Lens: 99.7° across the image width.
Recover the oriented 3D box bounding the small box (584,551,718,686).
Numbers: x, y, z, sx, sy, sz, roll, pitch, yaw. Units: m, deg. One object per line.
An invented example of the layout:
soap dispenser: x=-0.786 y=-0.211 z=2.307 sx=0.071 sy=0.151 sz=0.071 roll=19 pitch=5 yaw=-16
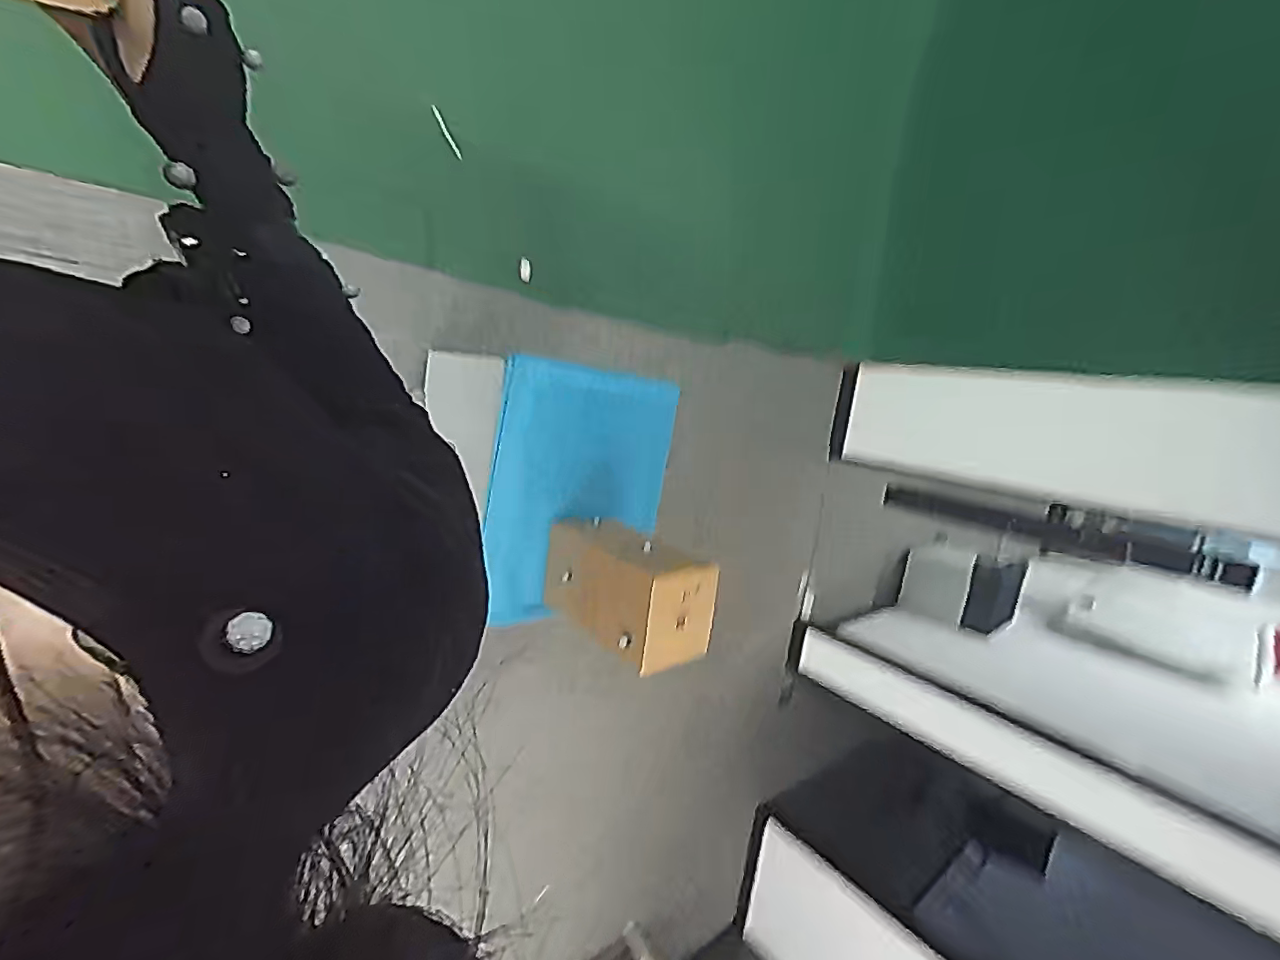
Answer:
small box: x=0.015 y=0.242 z=0.989 sx=0.168 sy=0.176 sz=0.179 roll=0 pitch=101 yaw=-42
